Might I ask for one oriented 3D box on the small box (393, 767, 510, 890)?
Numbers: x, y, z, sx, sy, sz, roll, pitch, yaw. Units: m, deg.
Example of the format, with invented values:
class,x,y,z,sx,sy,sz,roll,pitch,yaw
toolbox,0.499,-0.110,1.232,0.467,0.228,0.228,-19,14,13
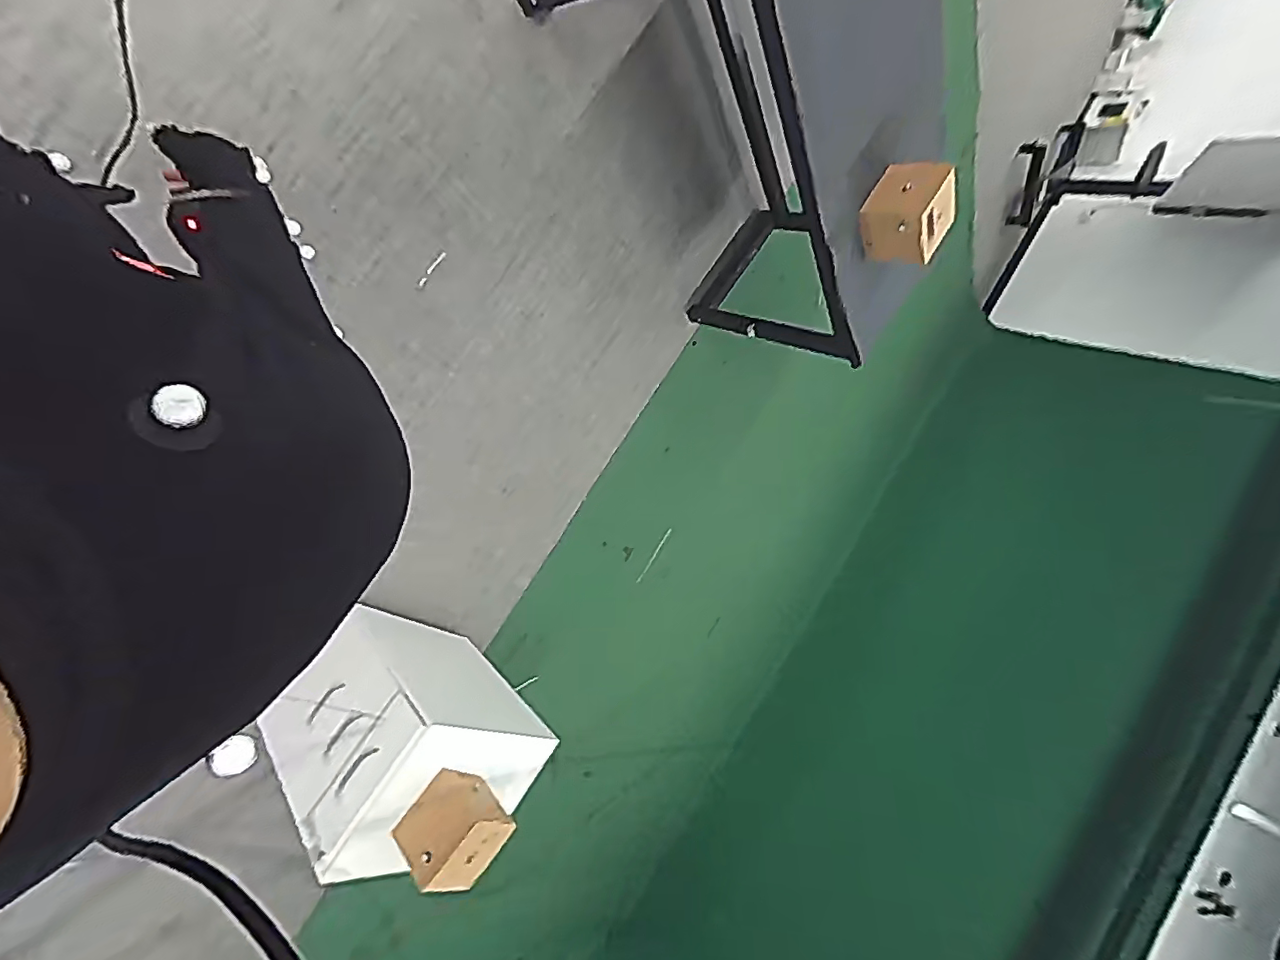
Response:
class,x,y,z,sx,sy,sz,roll,pitch,yaw
small box,-0.453,0.823,1.281,0.179,0.176,0.168,-50,141,-14
